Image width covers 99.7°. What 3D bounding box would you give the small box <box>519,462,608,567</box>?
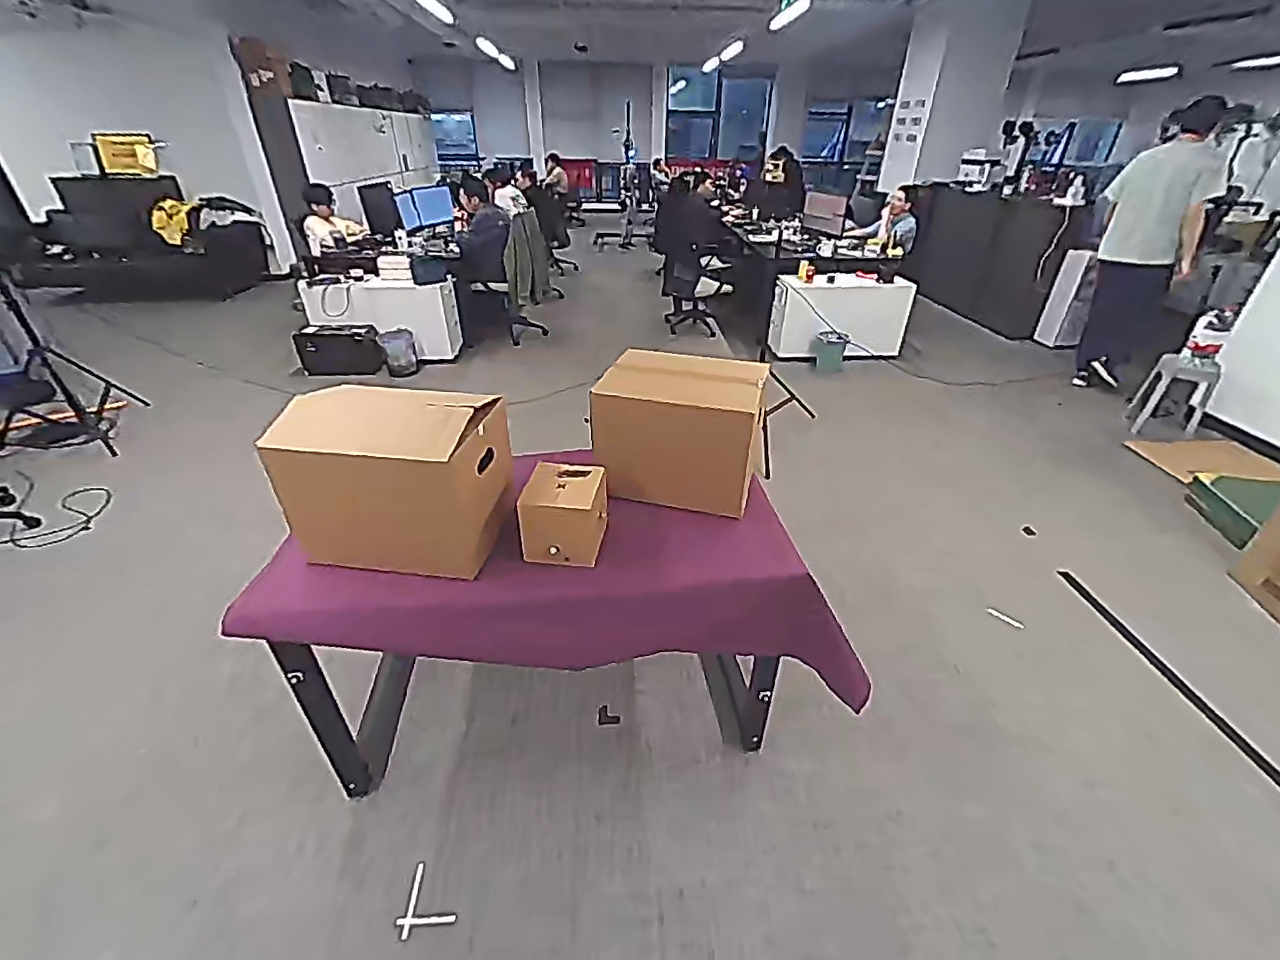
[{"bbox_3d":[-0.171,0.077,1.263,0.168,0.176,0.179,4,33,6],"label":"small box"}]
